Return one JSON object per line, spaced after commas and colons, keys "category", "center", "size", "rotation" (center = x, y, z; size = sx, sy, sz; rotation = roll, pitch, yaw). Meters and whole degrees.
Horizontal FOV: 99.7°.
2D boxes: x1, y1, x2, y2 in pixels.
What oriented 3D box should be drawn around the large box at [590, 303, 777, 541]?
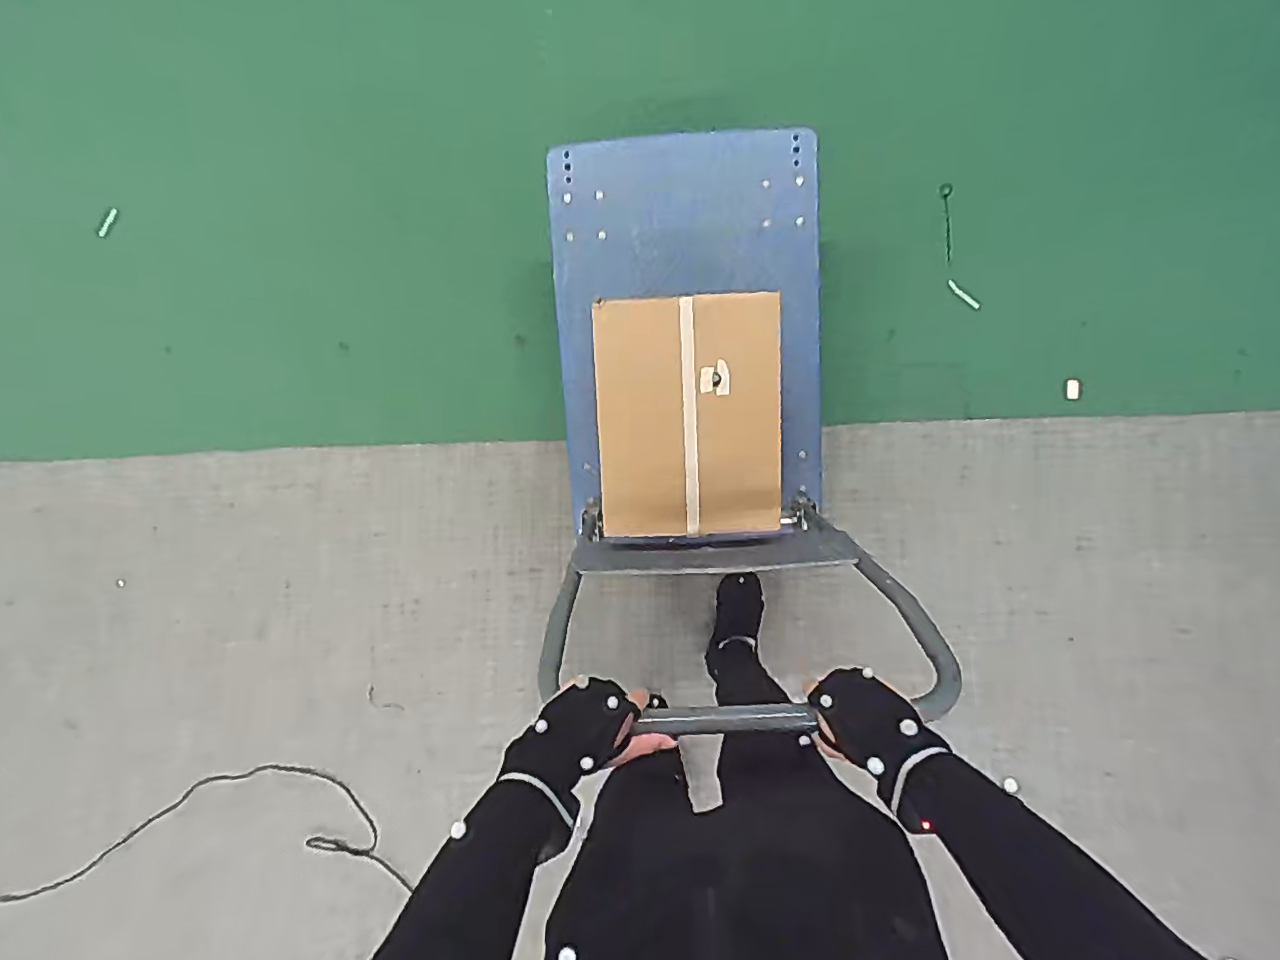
{"category": "large box", "center": [0.082, -0.112, 1.079], "size": [0.320, 0.320, 0.408], "rotation": [-2, 98, 1]}
